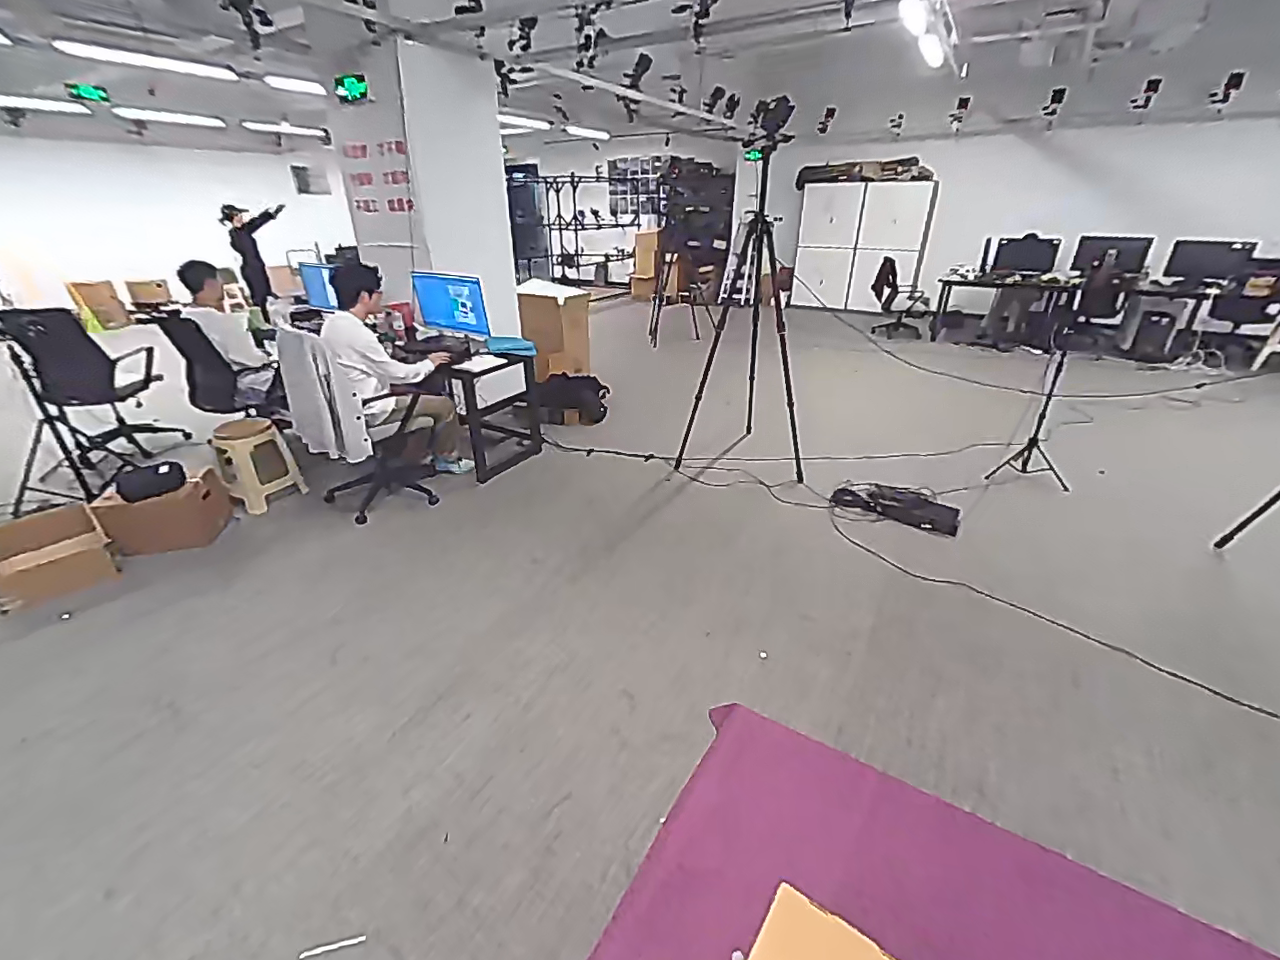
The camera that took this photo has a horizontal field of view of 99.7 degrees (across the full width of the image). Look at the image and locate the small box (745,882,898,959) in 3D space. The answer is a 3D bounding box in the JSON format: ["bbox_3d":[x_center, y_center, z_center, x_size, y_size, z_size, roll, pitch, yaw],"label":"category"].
[{"bbox_3d":[0.175,0.572,0.535,0.168,0.176,0.179,18,31,33],"label":"small box"}]
